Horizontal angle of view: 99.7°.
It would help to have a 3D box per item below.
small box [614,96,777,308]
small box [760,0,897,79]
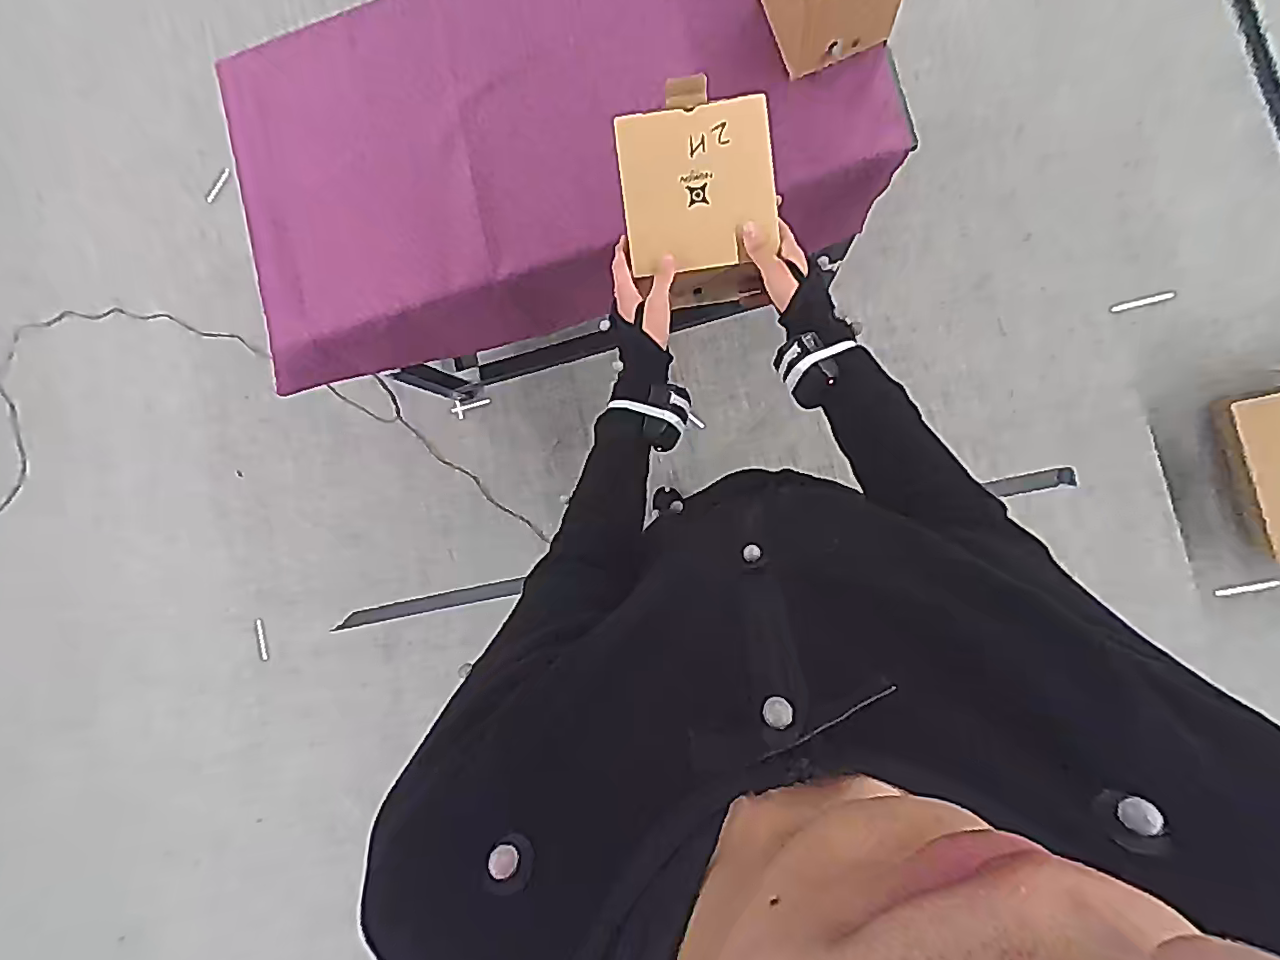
[{"bbox_3d":[0.065,-0.320,0.663,0.168,0.176,0.179,-6,93,3],"label":"small box"},{"bbox_3d":[0.284,-0.774,0.821,0.168,0.176,0.179,-18,86,10],"label":"small box"}]
